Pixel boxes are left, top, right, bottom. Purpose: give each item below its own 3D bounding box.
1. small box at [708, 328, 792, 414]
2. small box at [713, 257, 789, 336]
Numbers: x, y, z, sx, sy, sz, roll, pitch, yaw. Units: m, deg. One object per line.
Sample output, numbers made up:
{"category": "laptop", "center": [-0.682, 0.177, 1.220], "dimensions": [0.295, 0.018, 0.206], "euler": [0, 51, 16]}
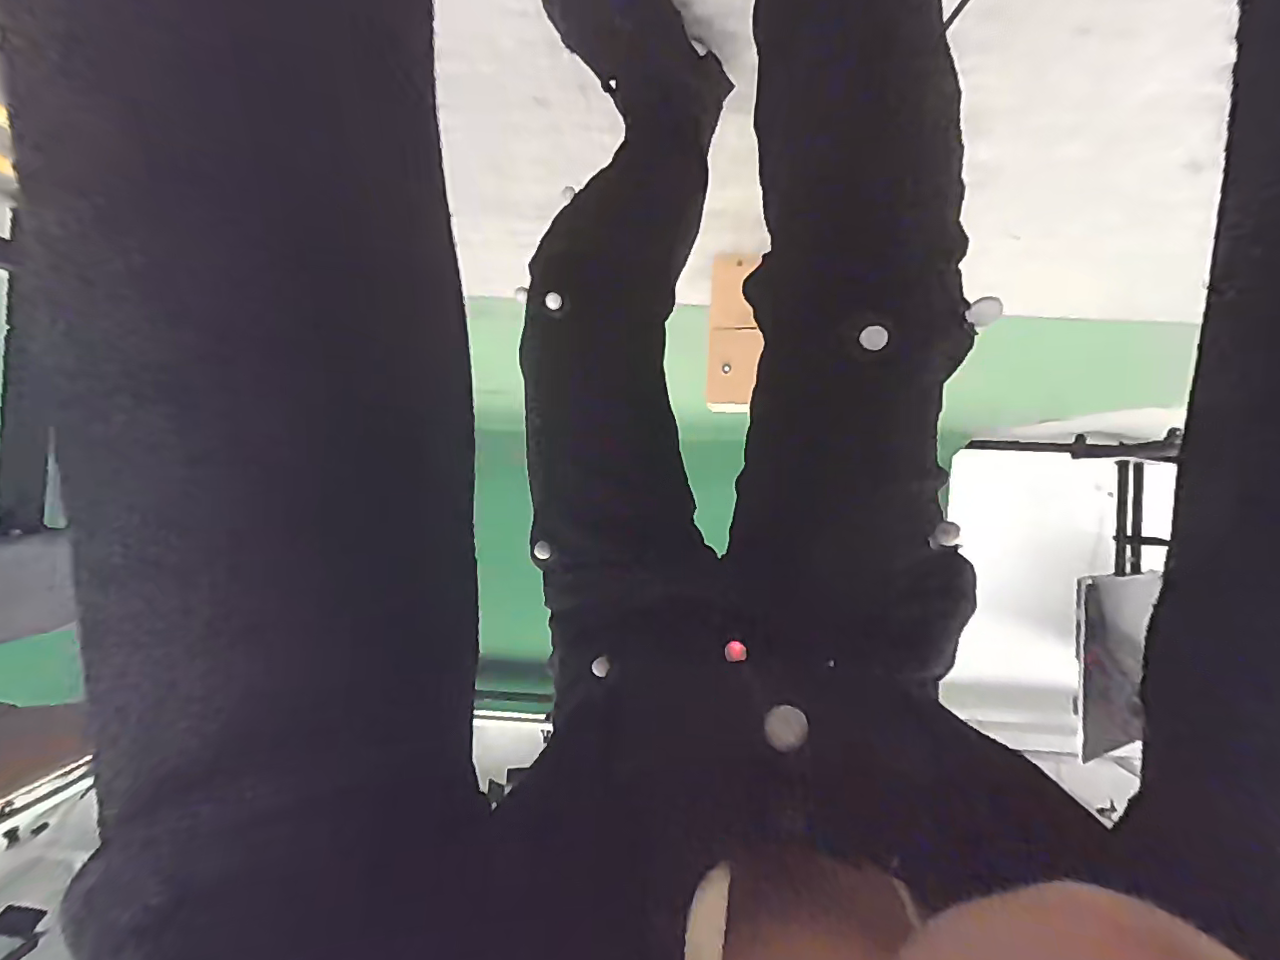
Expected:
{"category": "small box", "center": [0.258, -0.251, 1.261], "dimensions": [0.179, 0.176, 0.168], "euler": [2, -179, 14]}
{"category": "small box", "center": [0.260, -0.413, 1.272], "dimensions": [0.168, 0.176, 0.179], "euler": [3, 180, 11]}
